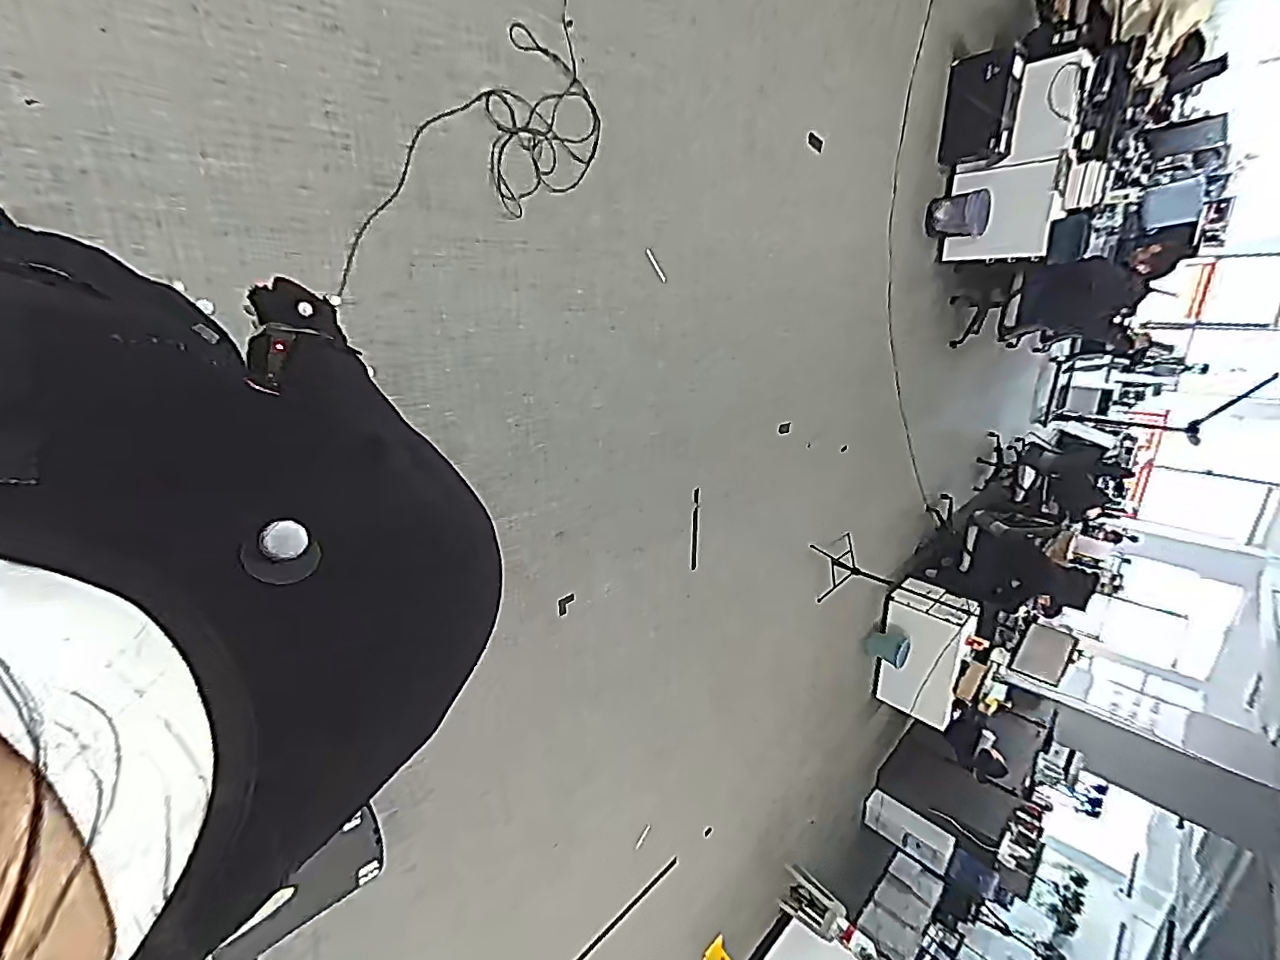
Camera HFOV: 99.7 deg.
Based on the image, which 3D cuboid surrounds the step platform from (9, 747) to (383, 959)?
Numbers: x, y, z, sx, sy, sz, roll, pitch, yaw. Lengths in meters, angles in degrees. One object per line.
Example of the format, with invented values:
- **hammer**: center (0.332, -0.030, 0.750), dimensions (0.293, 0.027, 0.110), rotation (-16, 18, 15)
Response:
- **step platform**: center (-0.999, 0.977, 1.308), dimensions (0.684, 0.204, 0.286), rotation (-20, 116, -39)
